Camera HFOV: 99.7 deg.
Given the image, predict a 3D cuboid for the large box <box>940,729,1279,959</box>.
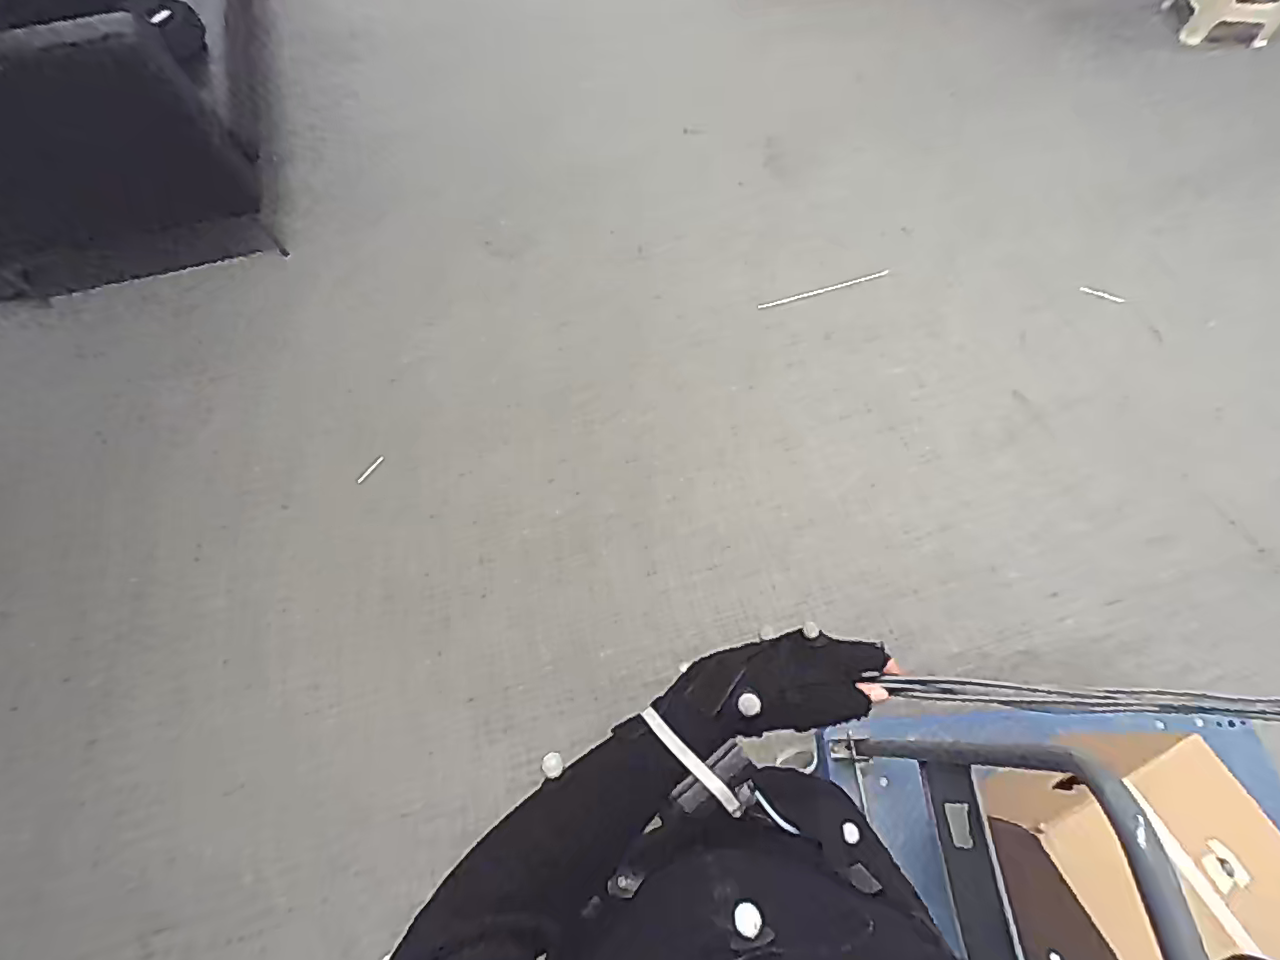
[{"bbox_3d":[0.796,0.669,0.869,0.320,0.320,0.408,-23,65,-9],"label":"large box"}]
